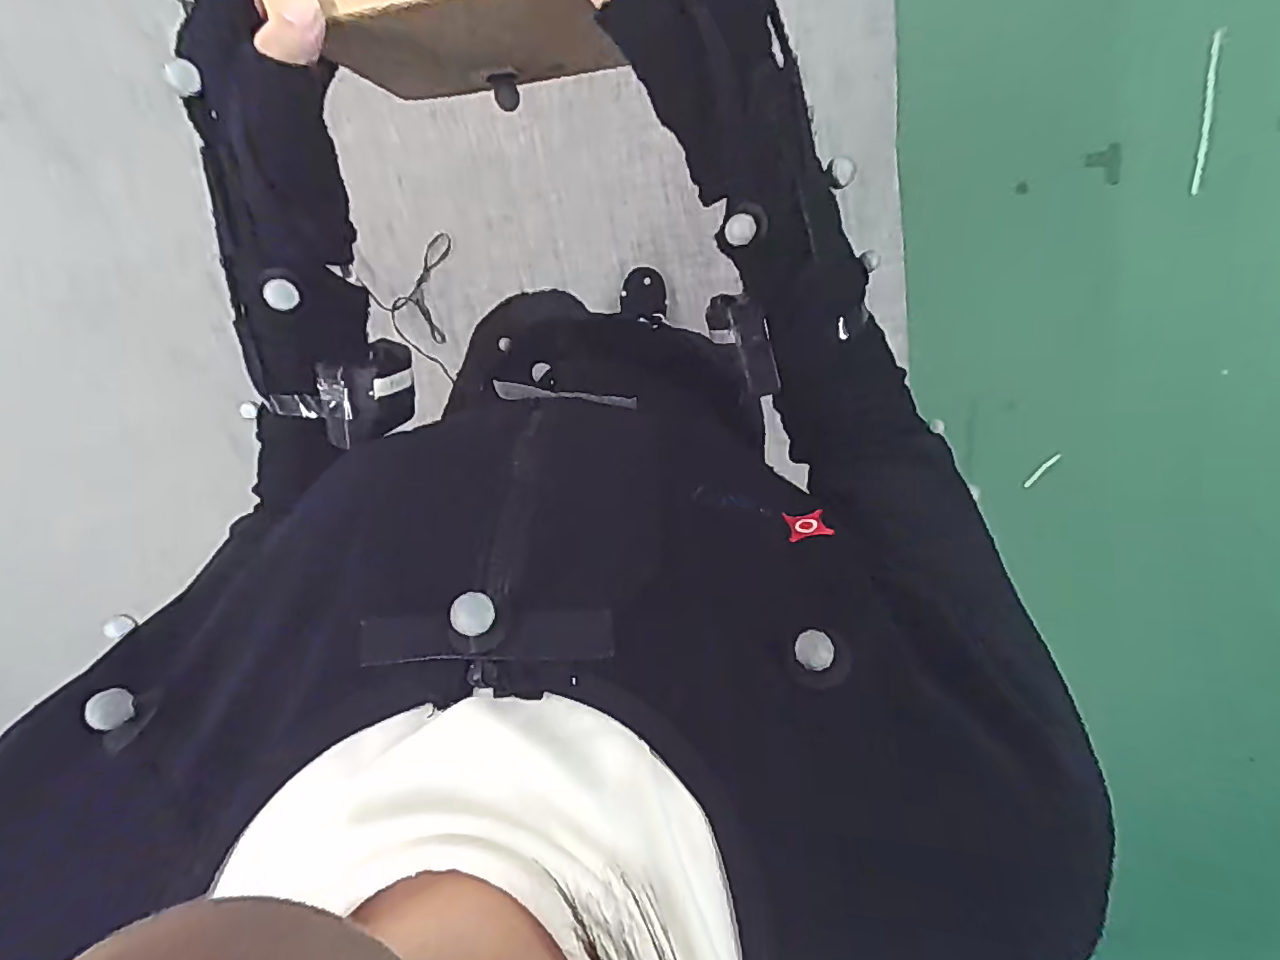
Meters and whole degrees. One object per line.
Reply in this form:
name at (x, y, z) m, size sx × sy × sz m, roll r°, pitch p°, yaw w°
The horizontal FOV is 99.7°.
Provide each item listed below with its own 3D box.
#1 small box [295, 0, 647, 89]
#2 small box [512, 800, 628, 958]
small box at (-0.088, -0.321, 0.258) m, size 0.168 × 0.176 × 0.179 m, roll -8°, pitch 116°, yaw 3°
small box at (-0.124, 0.766, 1.048) m, size 0.168 × 0.176 × 0.179 m, roll -16°, pitch 108°, yaw 6°
